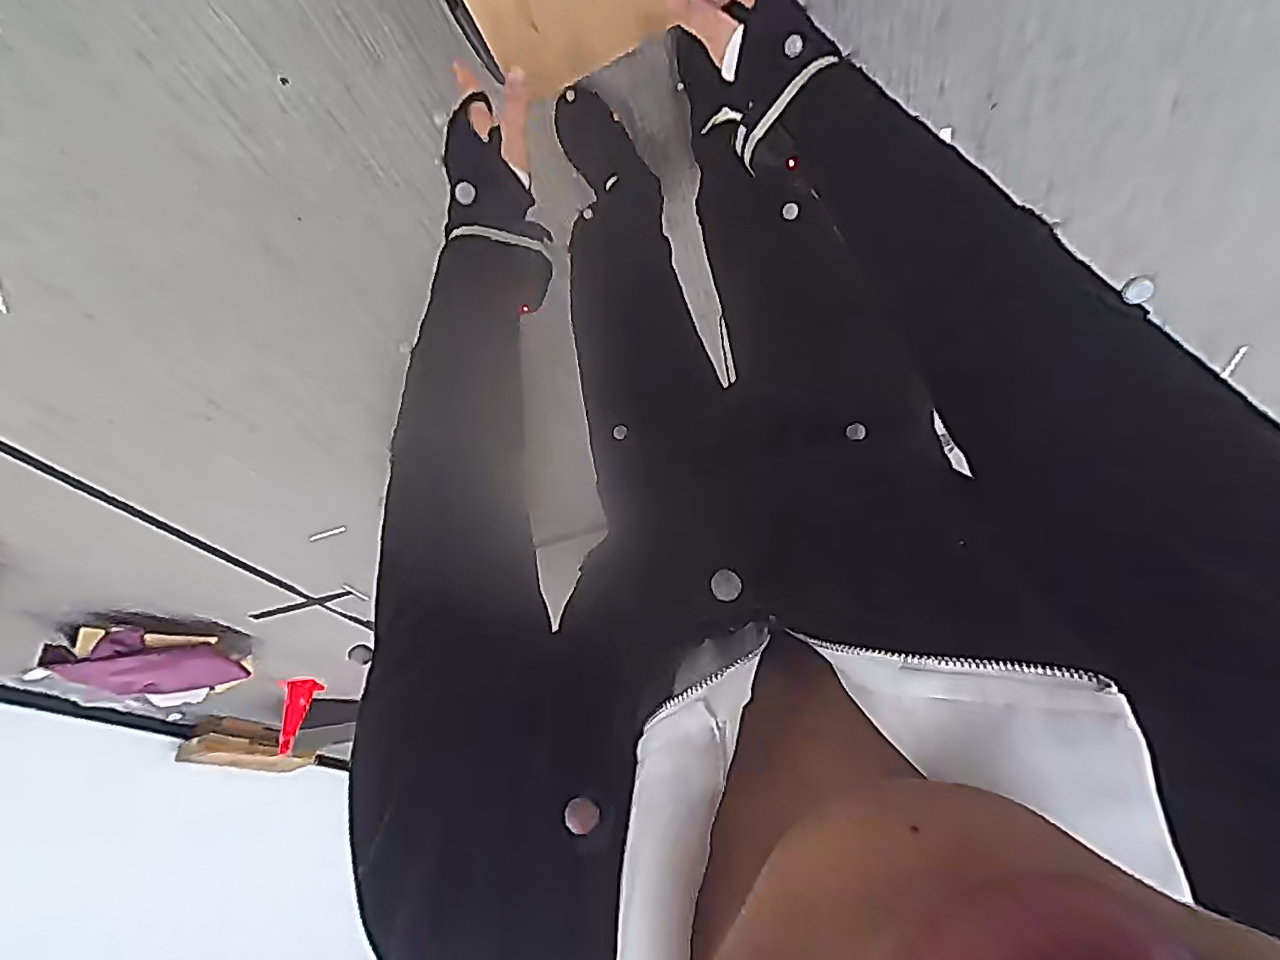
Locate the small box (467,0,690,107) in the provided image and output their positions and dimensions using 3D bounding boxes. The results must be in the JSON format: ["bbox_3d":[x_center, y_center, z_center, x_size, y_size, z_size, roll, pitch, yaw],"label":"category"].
[{"bbox_3d":[-0.072,-0.492,0.490,0.179,0.176,0.168,-19,139,16],"label":"small box"}]

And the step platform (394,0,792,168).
[{"bbox_3d":[0.078,-0.619,0.556,0.684,0.204,0.286,-17,140,13],"label":"step platform"}]
